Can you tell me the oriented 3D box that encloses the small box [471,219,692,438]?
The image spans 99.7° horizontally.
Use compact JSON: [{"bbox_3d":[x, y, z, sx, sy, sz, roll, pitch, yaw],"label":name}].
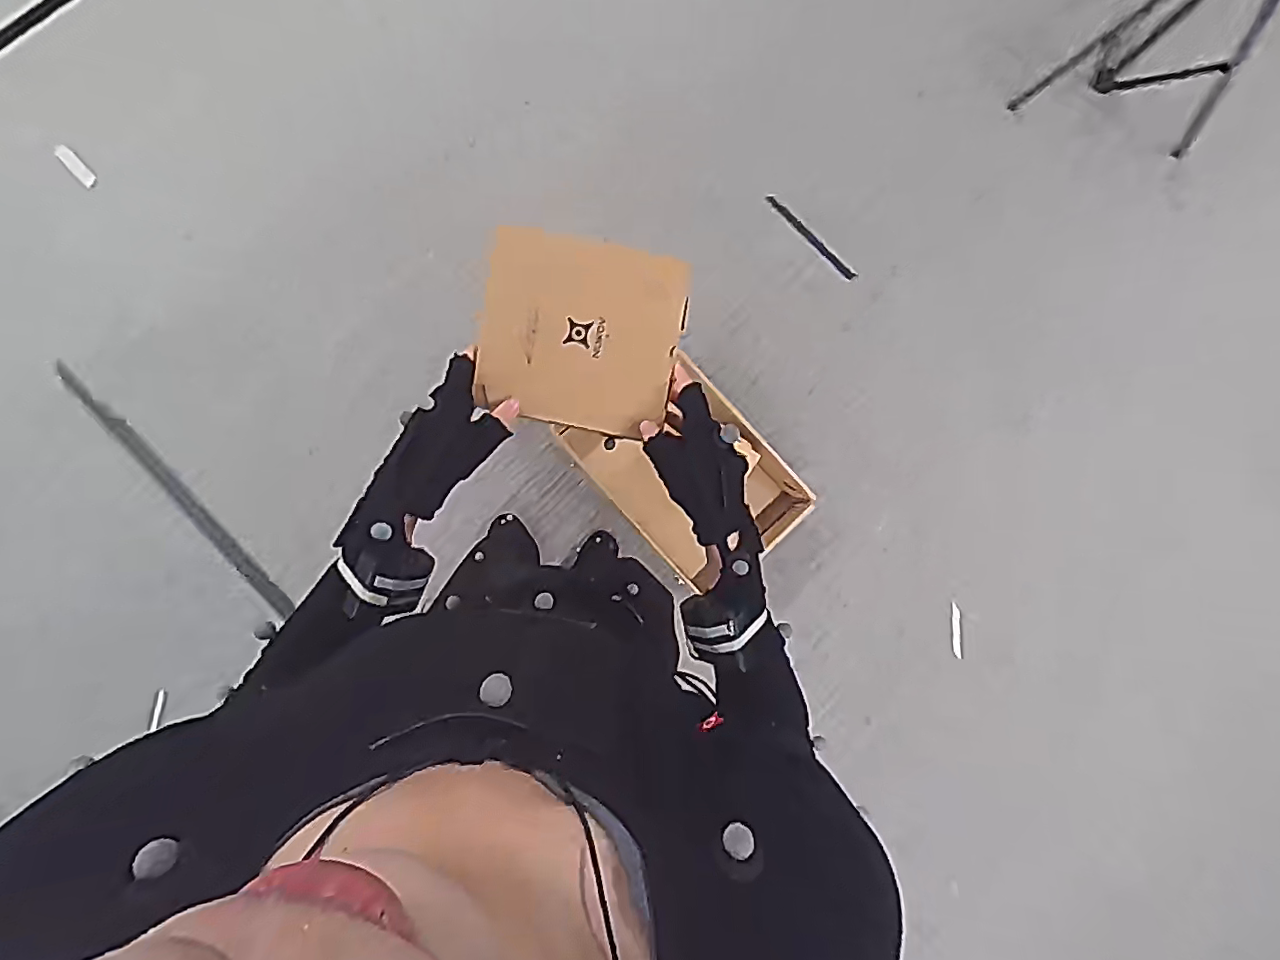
[{"bbox_3d":[-0.058,-0.136,0.555,0.179,0.176,0.168,8,92,-5],"label":"small box"}]
